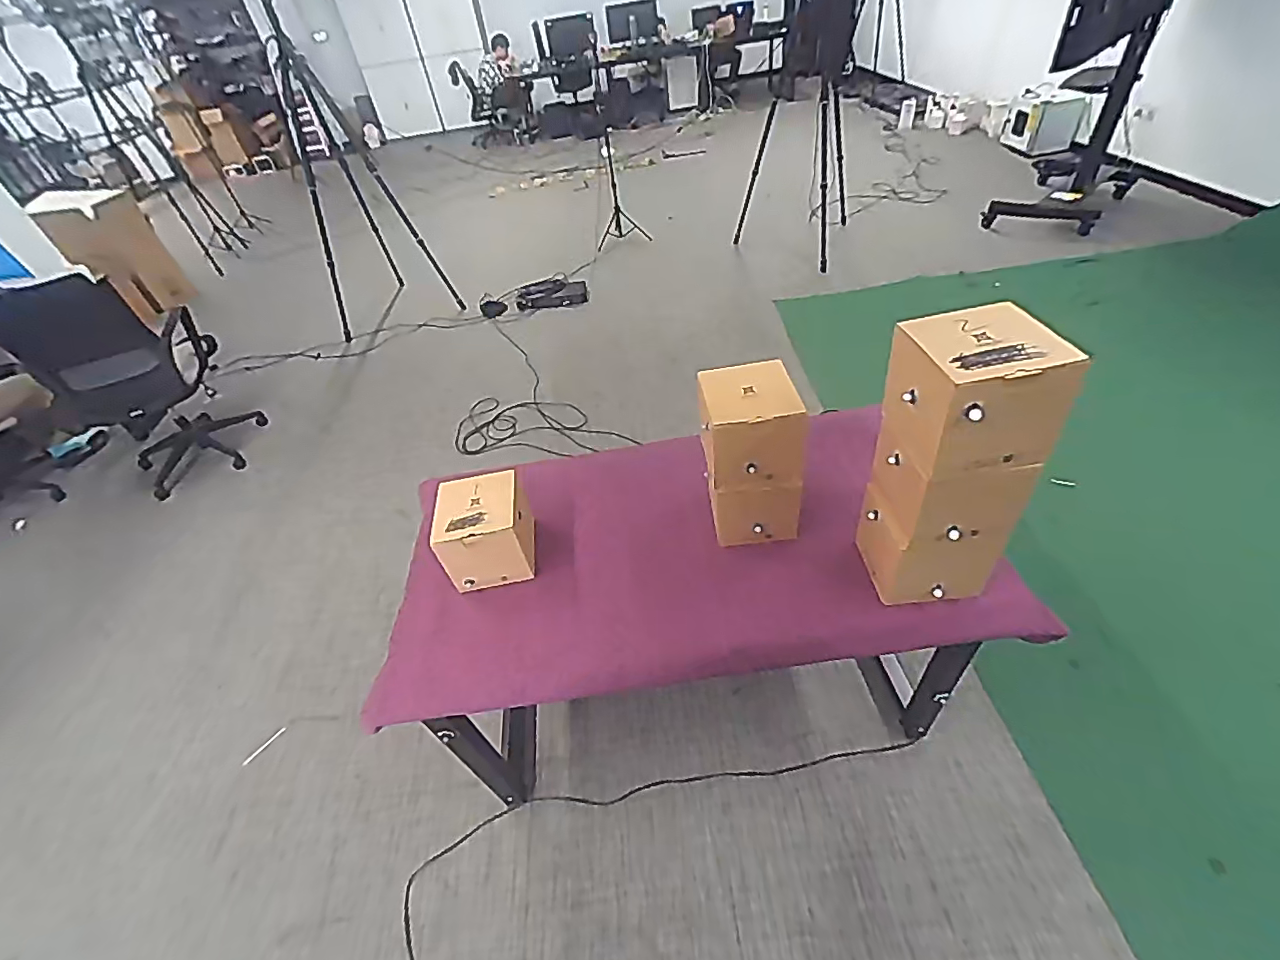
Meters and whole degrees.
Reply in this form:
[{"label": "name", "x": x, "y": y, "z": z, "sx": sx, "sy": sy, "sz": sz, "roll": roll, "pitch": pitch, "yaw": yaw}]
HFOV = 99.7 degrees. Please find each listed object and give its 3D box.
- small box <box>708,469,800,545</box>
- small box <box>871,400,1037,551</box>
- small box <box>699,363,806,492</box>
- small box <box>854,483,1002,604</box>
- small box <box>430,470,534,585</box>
[{"label": "small box", "x": 0.235, "y": 0.017, "z": 1.156, "sx": 0.168, "sy": 0.176, "sz": 0.179, "roll": -6, "pitch": 44, "yaw": 4}, {"label": "small box", "x": 0.500, "y": -0.007, "z": 0.896, "sx": 0.168, "sy": 0.176, "sz": 0.179, "roll": -8, "pitch": 43, "yaw": 5}, {"label": "small box", "x": 0.208, "y": -0.101, "z": 1.048, "sx": 0.168, "sy": 0.176, "sz": 0.179, "roll": -8, "pitch": 45, "yaw": 1}, {"label": "small box", "x": 0.520, "y": 0.113, "z": 1.006, "sx": 0.179, "sy": 0.176, "sz": 0.168, "roll": -6, "pitch": 43, "yaw": 4}, {"label": "small box", "x": -0.328, "y": 0.108, "z": 1.158, "sx": 0.168, "sy": 0.176, "sz": 0.179, "roll": -10, "pitch": 43, "yaw": -2}]
